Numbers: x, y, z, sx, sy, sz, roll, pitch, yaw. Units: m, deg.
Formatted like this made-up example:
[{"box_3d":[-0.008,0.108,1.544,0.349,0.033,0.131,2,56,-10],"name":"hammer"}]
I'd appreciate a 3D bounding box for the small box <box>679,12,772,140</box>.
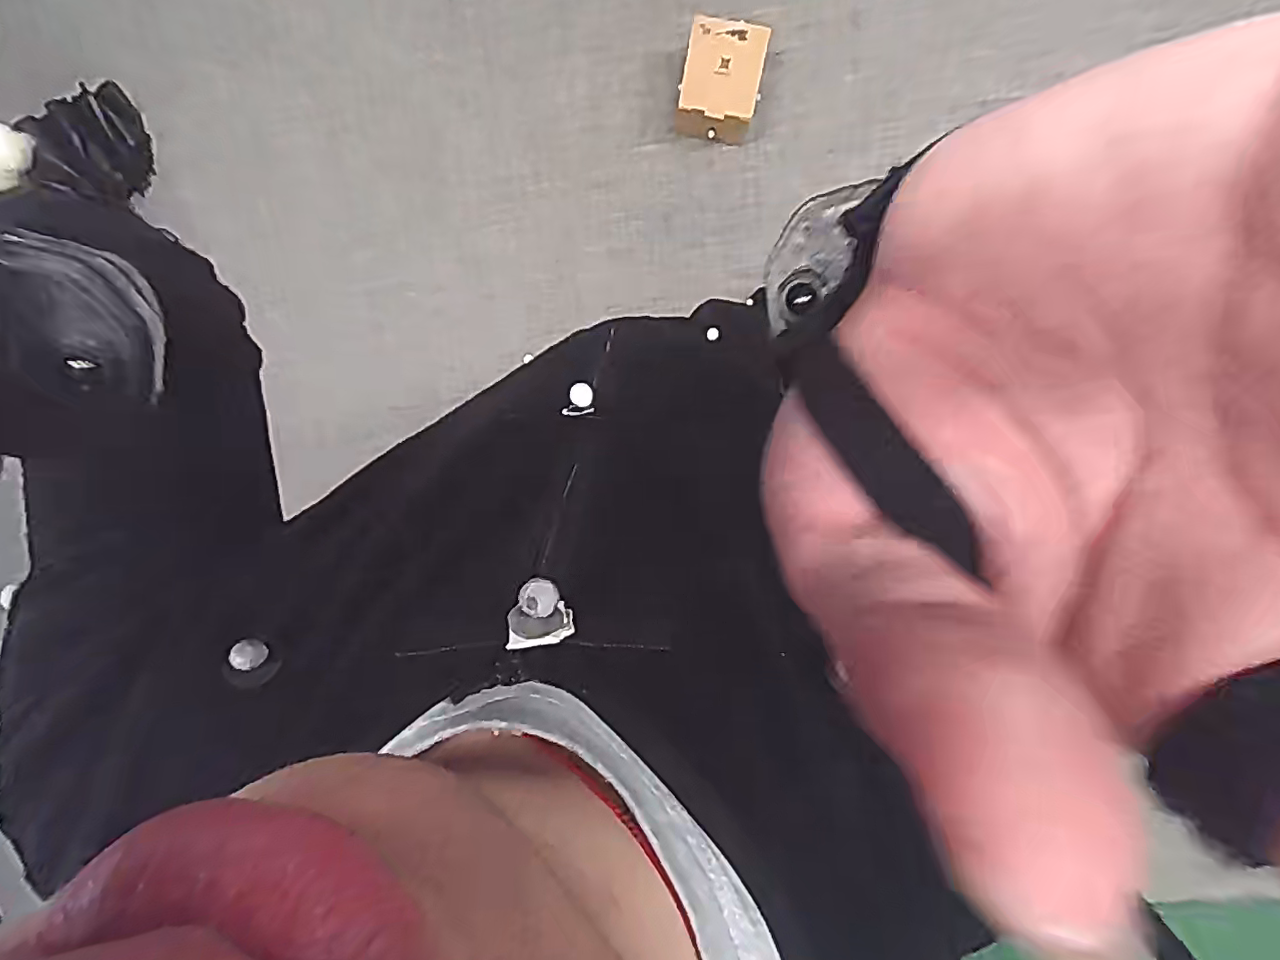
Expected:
[{"box_3d":[0.186,-0.894,1.215,0.168,0.176,0.179,11,106,2],"name":"small box"}]
